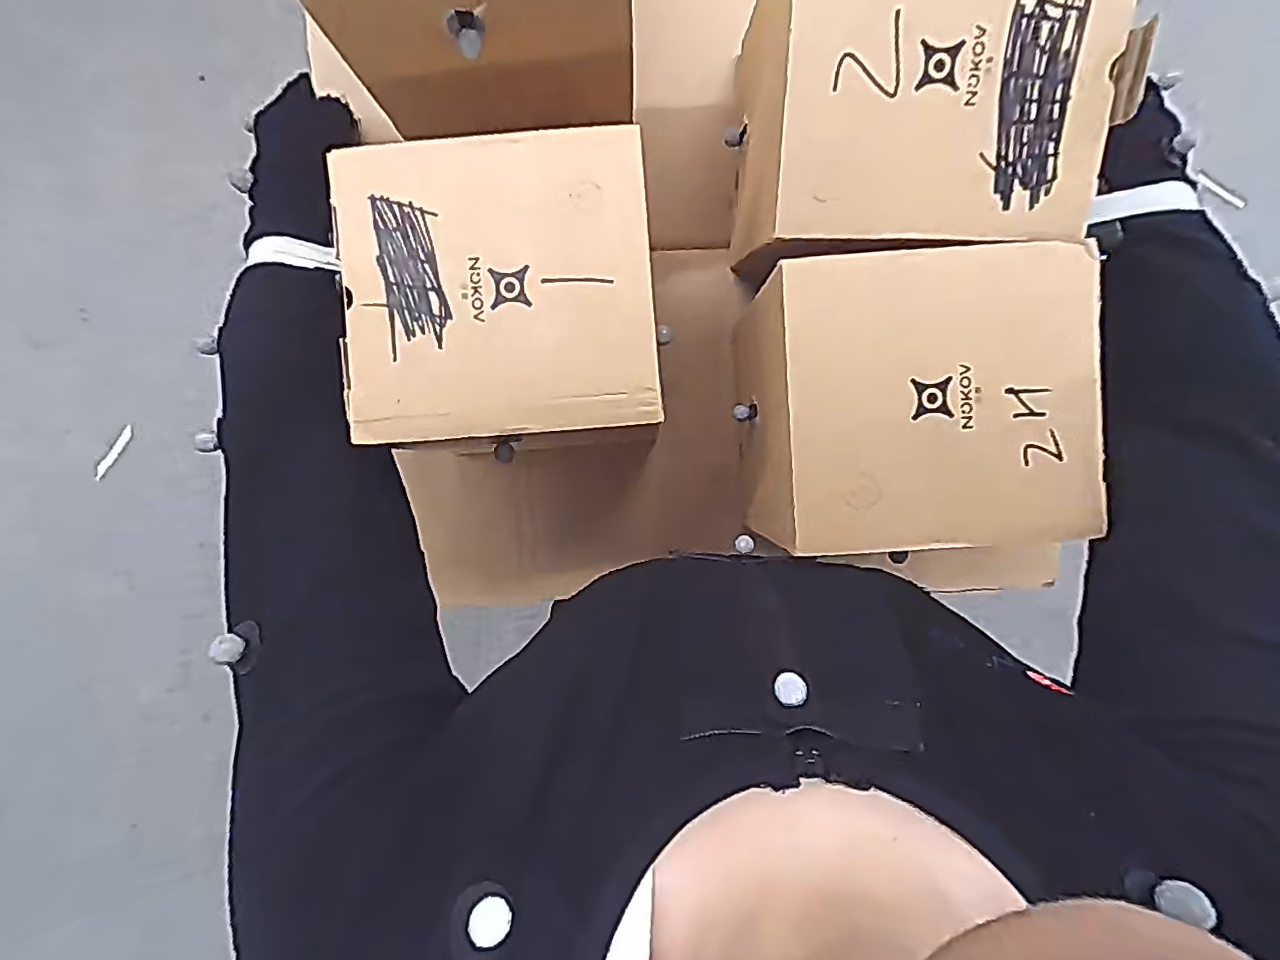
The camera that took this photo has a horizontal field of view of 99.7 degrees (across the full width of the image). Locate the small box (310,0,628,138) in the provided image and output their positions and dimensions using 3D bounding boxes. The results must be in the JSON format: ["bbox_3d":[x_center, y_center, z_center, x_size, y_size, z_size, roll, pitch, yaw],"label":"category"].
[{"bbox_3d":[-0.102,-0.352,0.342,0.179,0.176,0.168,-7,94,2],"label":"small box"}]
